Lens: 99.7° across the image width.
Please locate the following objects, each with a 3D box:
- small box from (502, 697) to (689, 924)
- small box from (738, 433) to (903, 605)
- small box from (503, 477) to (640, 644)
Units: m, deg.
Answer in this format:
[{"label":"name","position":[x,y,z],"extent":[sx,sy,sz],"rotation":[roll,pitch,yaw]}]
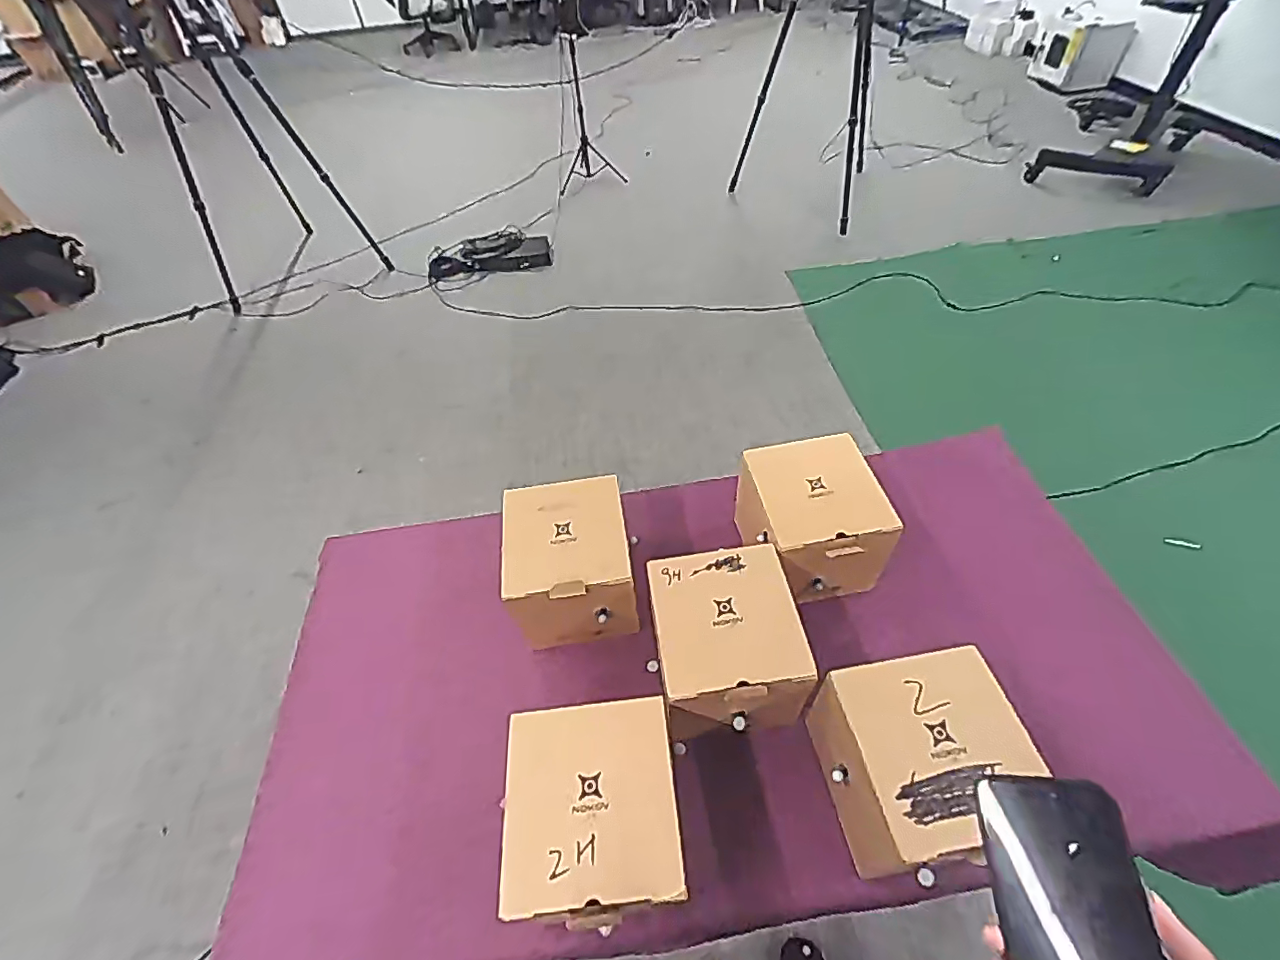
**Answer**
[{"label":"small box","position":[-0.039,0.357,0.582],"extent":[0.168,0.176,0.179],"rotation":[-7,50,1]},{"label":"small box","position":[0.249,0.059,0.802],"extent":[0.168,0.176,0.179],"rotation":[-11,52,-3]},{"label":"small box","position":[-0.094,0.124,0.783],"extent":[0.168,0.176,0.179],"rotation":[-8,50,-2]}]
